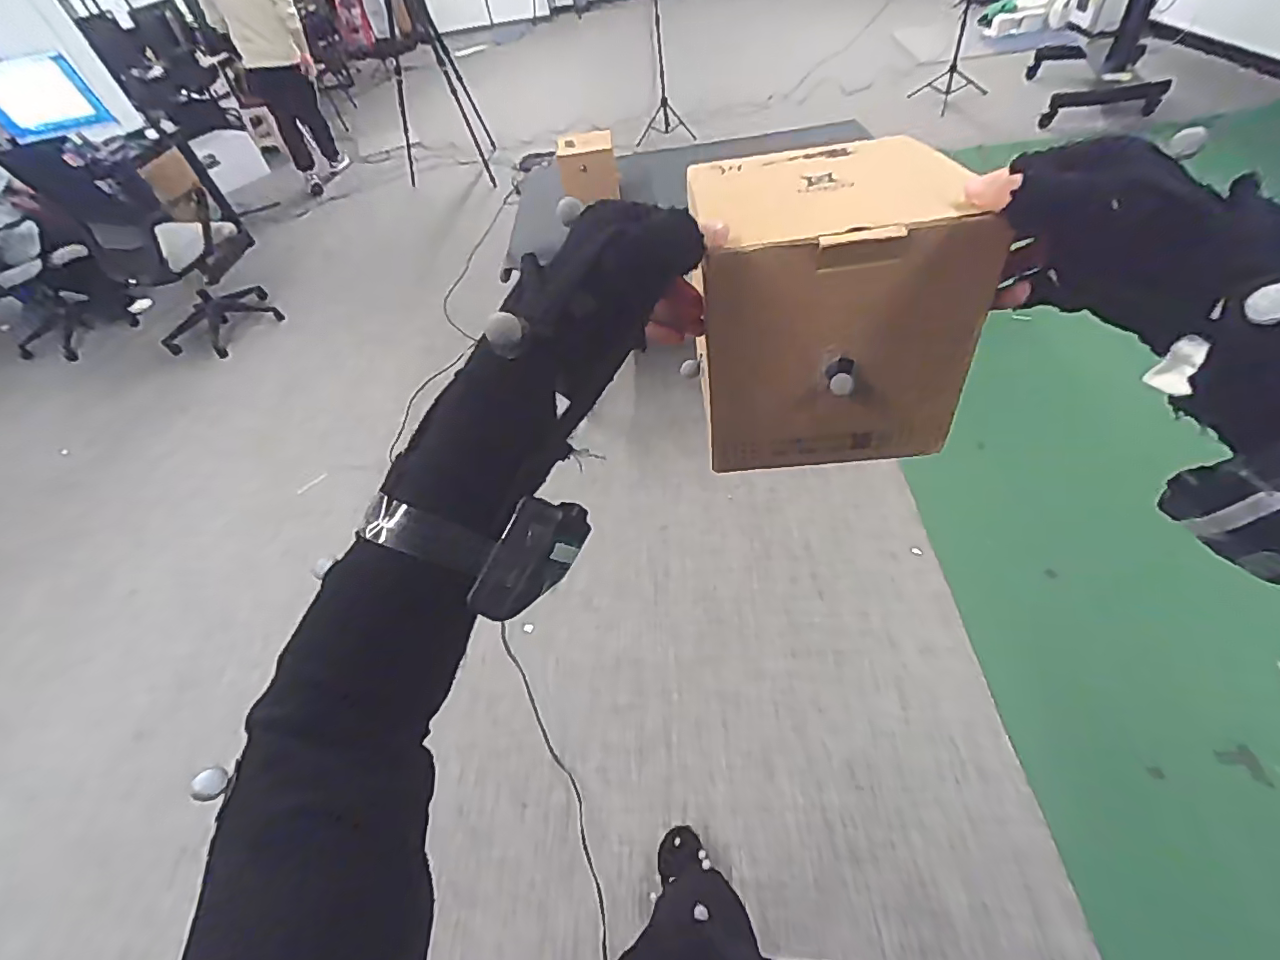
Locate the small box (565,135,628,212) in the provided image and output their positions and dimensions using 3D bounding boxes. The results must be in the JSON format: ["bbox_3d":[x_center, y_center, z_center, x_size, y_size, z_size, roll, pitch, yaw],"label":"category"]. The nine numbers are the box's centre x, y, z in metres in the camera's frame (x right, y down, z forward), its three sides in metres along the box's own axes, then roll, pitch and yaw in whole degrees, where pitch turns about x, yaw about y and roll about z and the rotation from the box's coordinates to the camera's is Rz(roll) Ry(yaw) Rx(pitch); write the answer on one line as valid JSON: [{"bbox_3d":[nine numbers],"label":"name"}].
[{"bbox_3d":[-0.137,-0.990,1.756,0.179,0.176,0.168,-6,49,3],"label":"small box"}]

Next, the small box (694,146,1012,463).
[{"bbox_3d":[0.131,-0.125,0.408,0.168,0.176,0.179,-4,43,6],"label":"small box"}]
